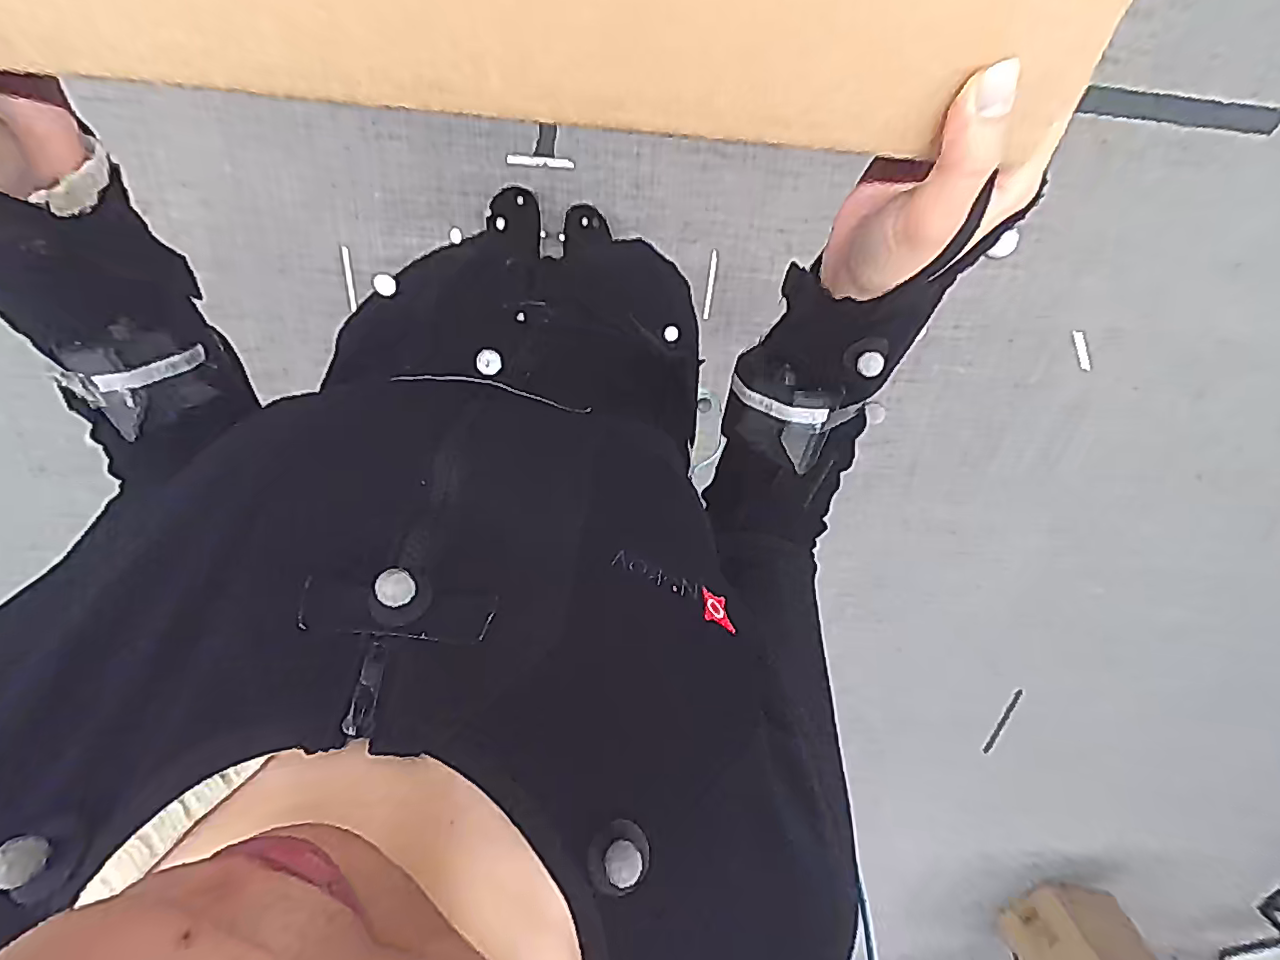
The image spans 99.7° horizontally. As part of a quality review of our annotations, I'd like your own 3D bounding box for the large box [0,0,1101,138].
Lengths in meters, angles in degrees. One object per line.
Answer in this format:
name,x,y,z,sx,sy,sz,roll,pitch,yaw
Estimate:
large box,-0.044,-0.346,0.159,0.408,0.320,0.320,2,145,-4
